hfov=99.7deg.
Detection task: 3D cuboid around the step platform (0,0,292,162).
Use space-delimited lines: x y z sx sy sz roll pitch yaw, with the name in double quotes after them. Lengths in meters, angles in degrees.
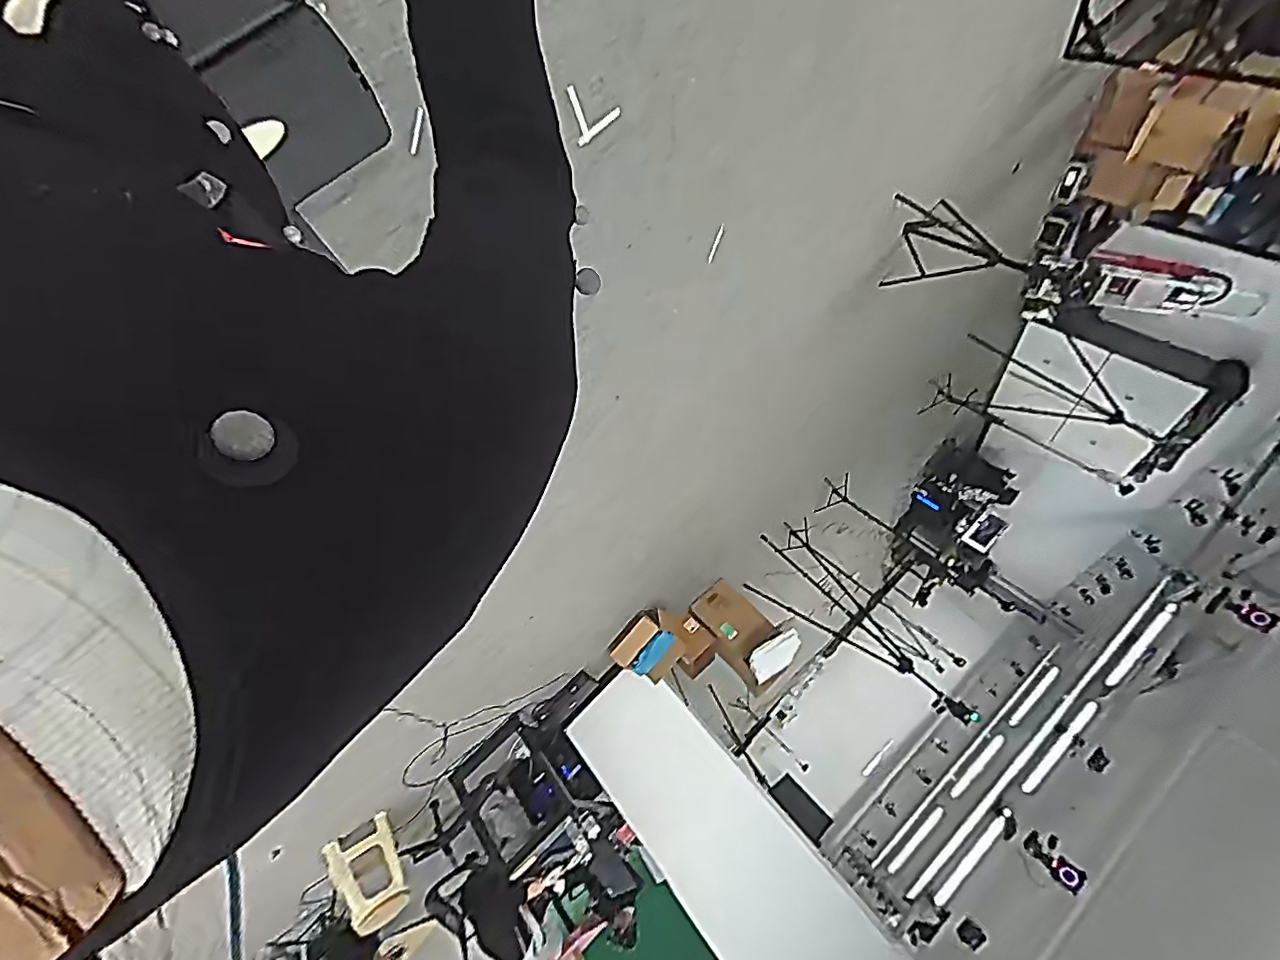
-0.897 -0.844 0.888 0.684 0.204 0.286 -44 148 -10 "step platform"
